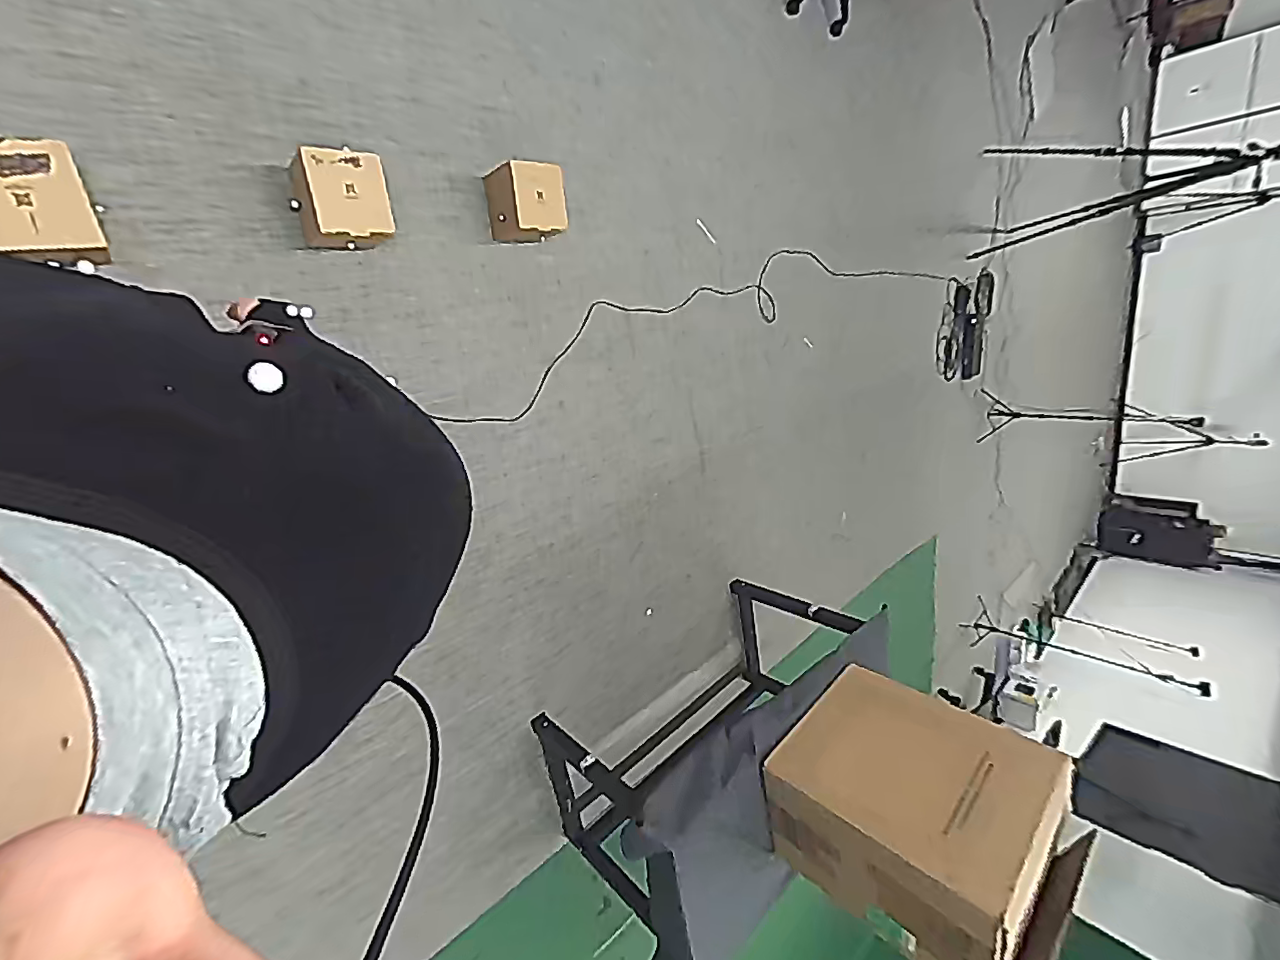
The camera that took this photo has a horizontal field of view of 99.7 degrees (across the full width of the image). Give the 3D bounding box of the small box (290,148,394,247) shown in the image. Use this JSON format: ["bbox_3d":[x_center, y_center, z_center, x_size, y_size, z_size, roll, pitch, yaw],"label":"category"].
[{"bbox_3d":[-0.709,-0.661,1.286,0.168,0.176,0.179,-19,110,-37],"label":"small box"}]

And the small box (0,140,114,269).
[{"bbox_3d":[-1.098,-0.492,0.979,0.168,0.176,0.179,-22,112,-36],"label":"small box"}]

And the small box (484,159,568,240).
[{"bbox_3d":[-0.334,-0.810,1.582,0.168,0.176,0.179,-20,109,-37],"label":"small box"}]
